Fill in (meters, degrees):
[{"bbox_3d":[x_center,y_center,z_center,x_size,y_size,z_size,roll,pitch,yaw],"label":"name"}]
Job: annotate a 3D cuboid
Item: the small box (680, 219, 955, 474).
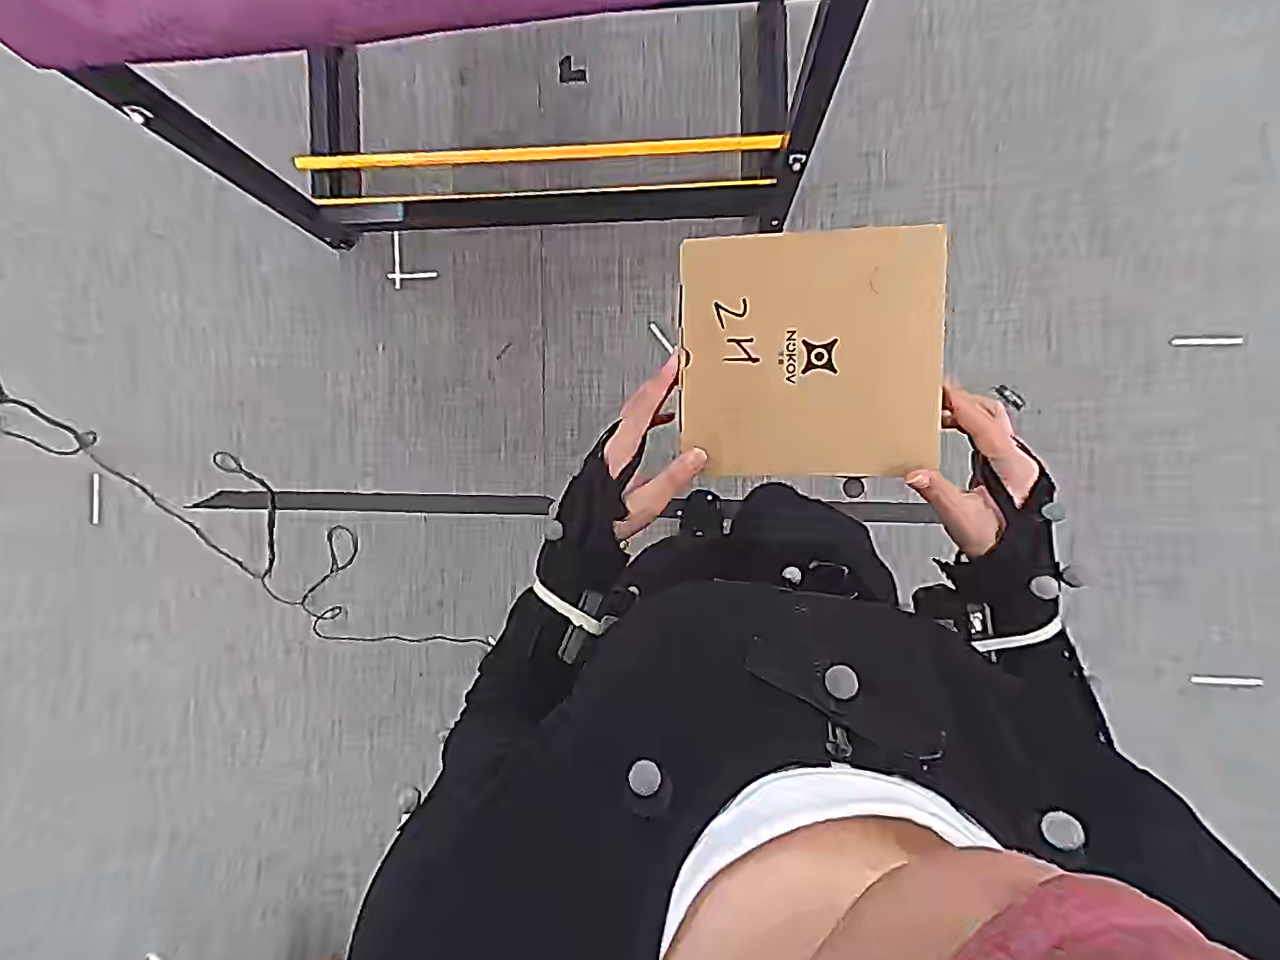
[{"bbox_3d":[0.127,-0.092,0.441,0.179,0.176,0.168,1,93,10],"label":"small box"}]
